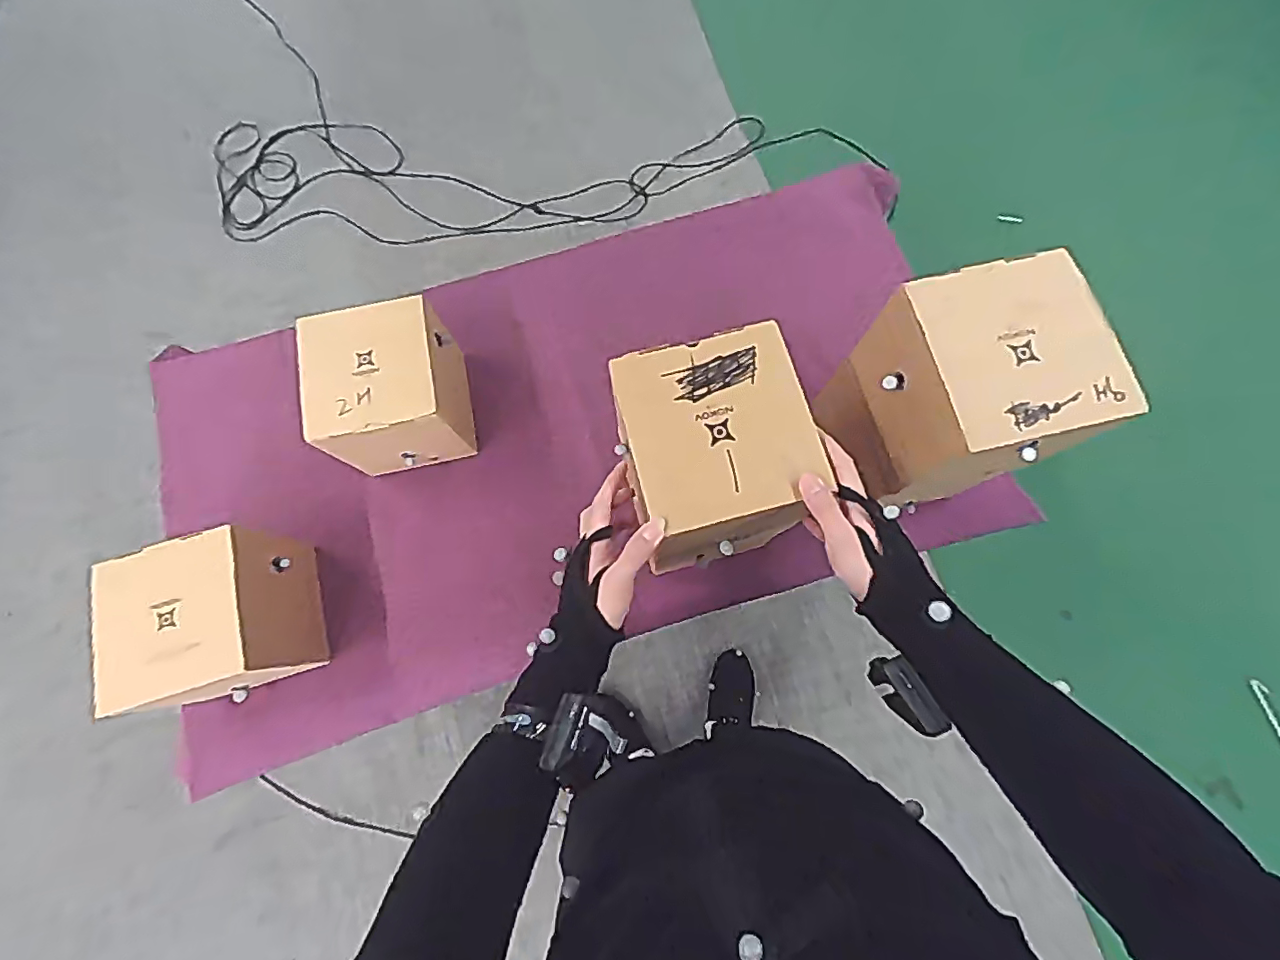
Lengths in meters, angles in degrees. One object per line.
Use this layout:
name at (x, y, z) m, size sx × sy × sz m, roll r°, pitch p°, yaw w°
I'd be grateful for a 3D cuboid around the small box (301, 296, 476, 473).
small box at (-0.344, -0.125, 0.762) m, size 0.168 × 0.176 × 0.179 m, roll -12°, pitch 76°, yaw -1°

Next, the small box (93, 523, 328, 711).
small box at (-0.532, 0.173, 0.689) m, size 0.168 × 0.176 × 0.179 m, roll -16°, pitch 75°, yaw -3°

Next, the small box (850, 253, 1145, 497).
small box at (0.344, -0.098, 0.566) m, size 0.168 × 0.176 × 0.179 m, roll -13°, pitch 74°, yaw -1°

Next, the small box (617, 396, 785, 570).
small box at (0.074, 0.017, 0.718) m, size 0.168 × 0.176 × 0.179 m, roll -15°, pitch 74°, yaw -2°
